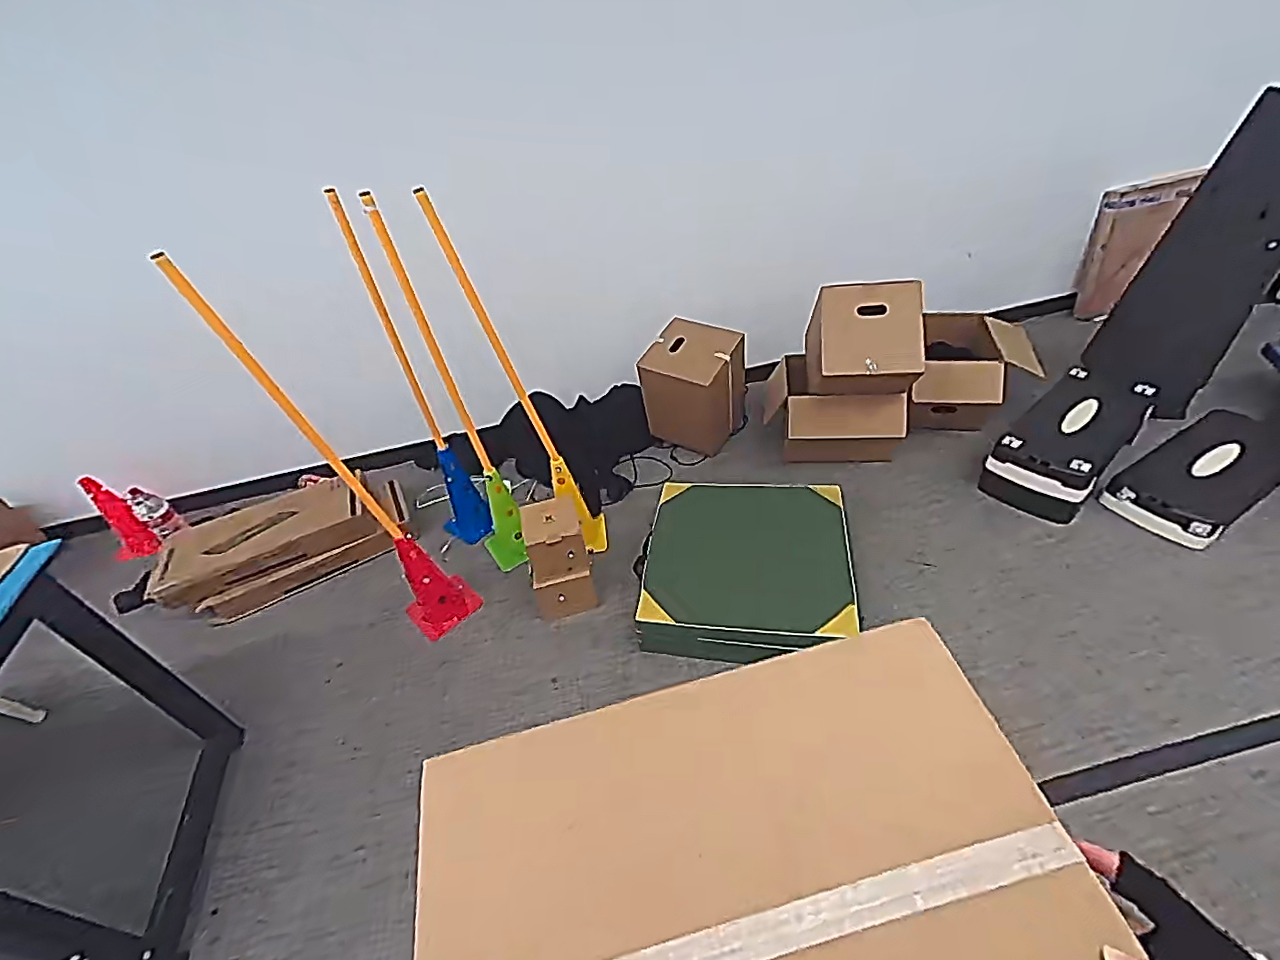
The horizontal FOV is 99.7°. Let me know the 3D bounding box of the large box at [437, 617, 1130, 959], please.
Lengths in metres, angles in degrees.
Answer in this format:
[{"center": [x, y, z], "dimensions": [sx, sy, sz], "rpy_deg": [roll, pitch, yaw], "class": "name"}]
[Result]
[{"center": [0.089, 0.369, 0.445], "dimensions": [0.408, 0.320, 0.320], "rpy_deg": [-16, 50, -2], "class": "large box"}]
